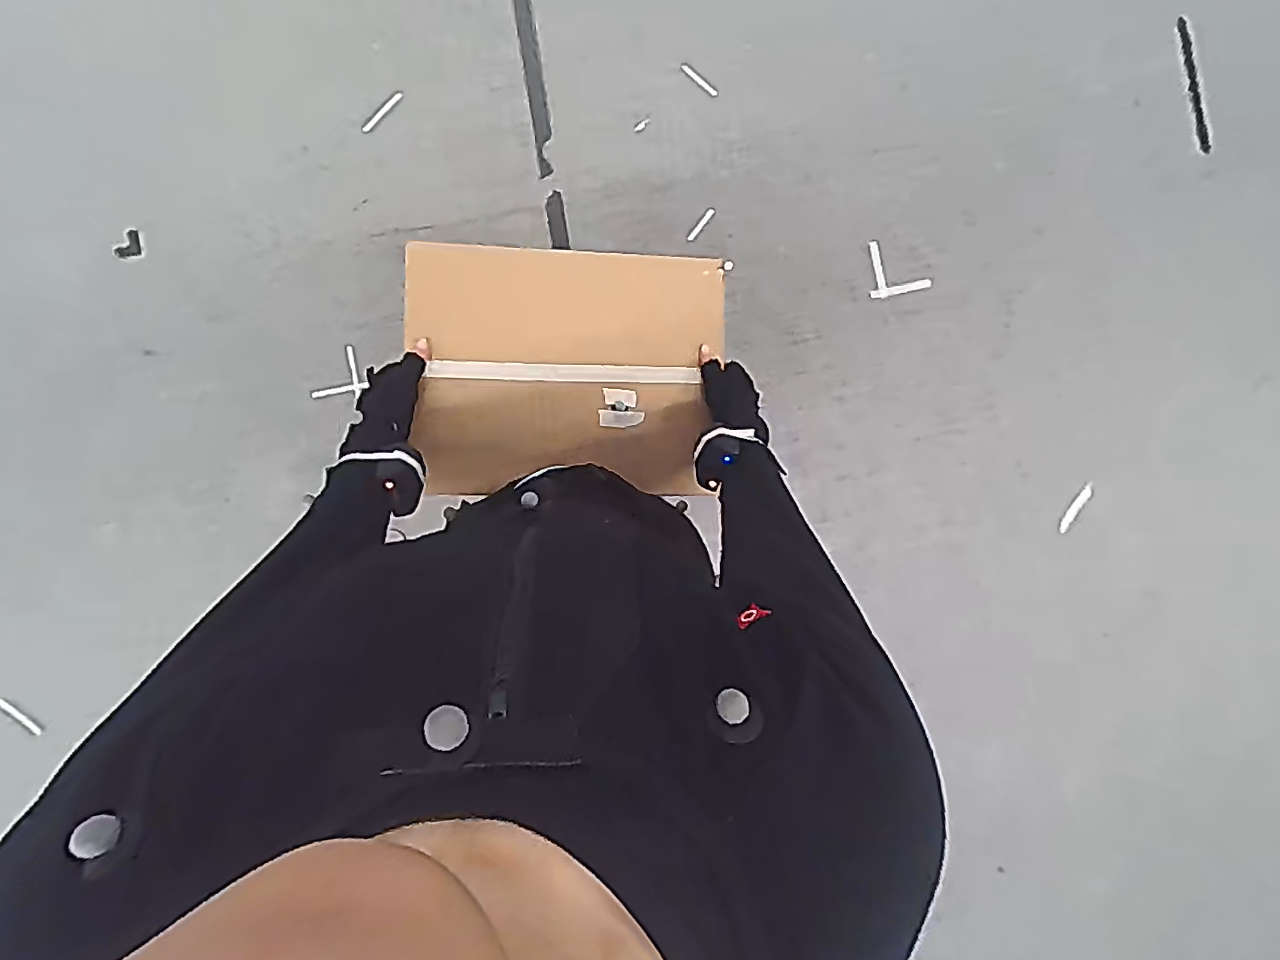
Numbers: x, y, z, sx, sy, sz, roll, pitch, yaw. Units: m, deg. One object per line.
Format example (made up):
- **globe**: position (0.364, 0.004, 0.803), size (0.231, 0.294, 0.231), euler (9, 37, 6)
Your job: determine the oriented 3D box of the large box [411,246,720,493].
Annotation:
- **large box**: position (-0.111, -0.142, 0.850), size (0.408, 0.320, 0.320), euler (0, 91, -8)
